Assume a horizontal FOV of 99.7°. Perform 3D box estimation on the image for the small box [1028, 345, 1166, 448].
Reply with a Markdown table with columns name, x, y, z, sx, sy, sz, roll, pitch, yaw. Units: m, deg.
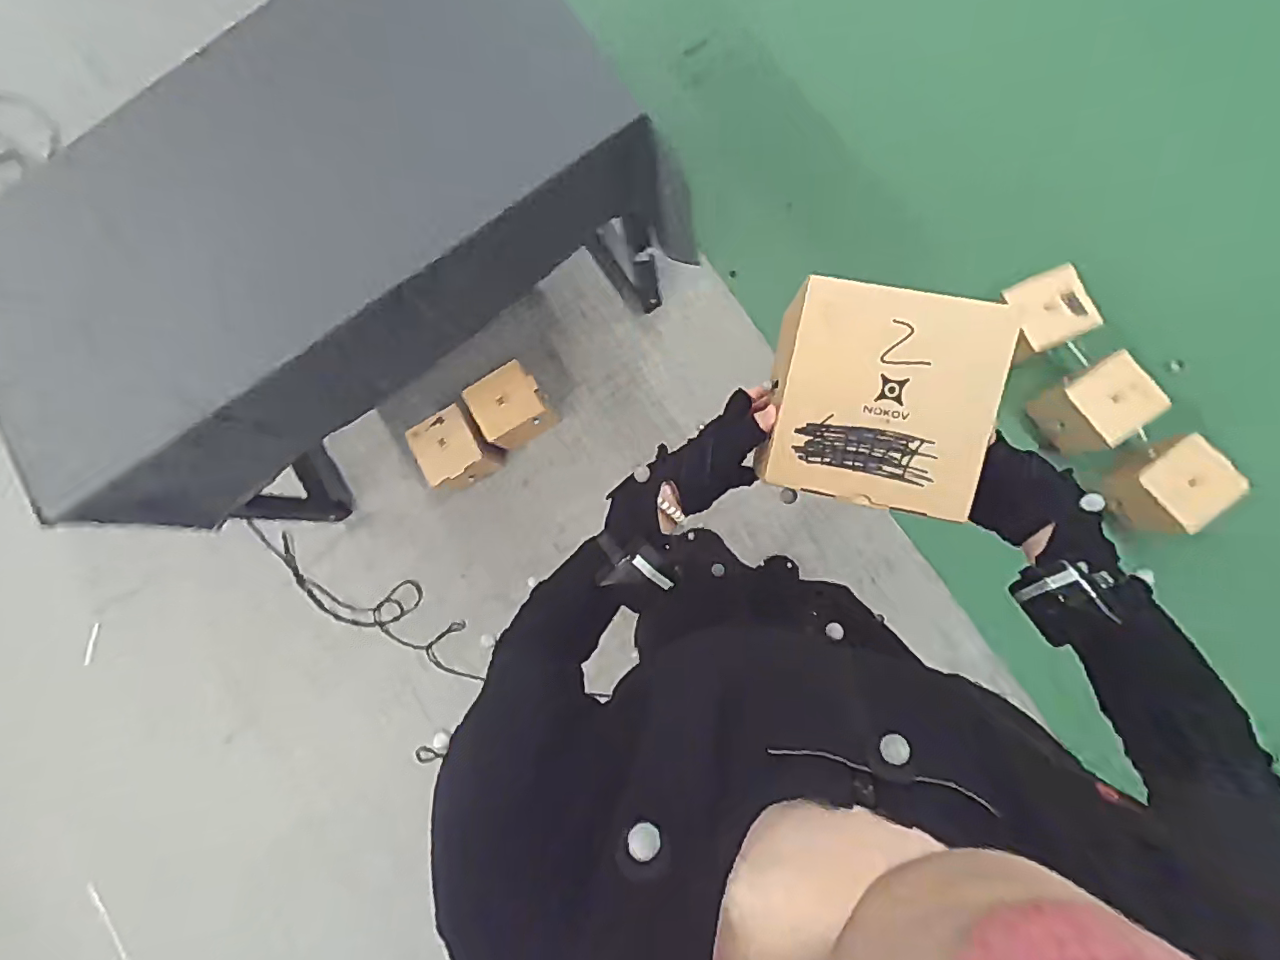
| name | x | y | z | sx | sy | sz | roll | pitch | yaw |
| --- | --- | --- | --- | --- | --- | --- | --- | --- | --- |
| small box | 1.121 | -0.199 | 1.351 | 0.179 | 0.176 | 0.168 | -36 | 83 | 1 |

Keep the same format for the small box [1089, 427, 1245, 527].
| name | x | y | z | sx | sy | sz | roll | pitch | yaw |
| --- | --- | --- | --- | --- | --- | --- | --- | --- | --- |
| small box | 1.268 | -0.002 | 1.318 | 0.179 | 0.176 | 0.168 | -39 | 82 | 0 |

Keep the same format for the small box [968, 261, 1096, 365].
| name | x | y | z | sx | sy | sz | roll | pitch | yaw |
| --- | --- | --- | --- | --- | --- | --- | --- | --- | --- |
| small box | 0.995 | -0.421 | 1.388 | 0.179 | 0.176 | 0.168 | -23 | 82 | 4 |
